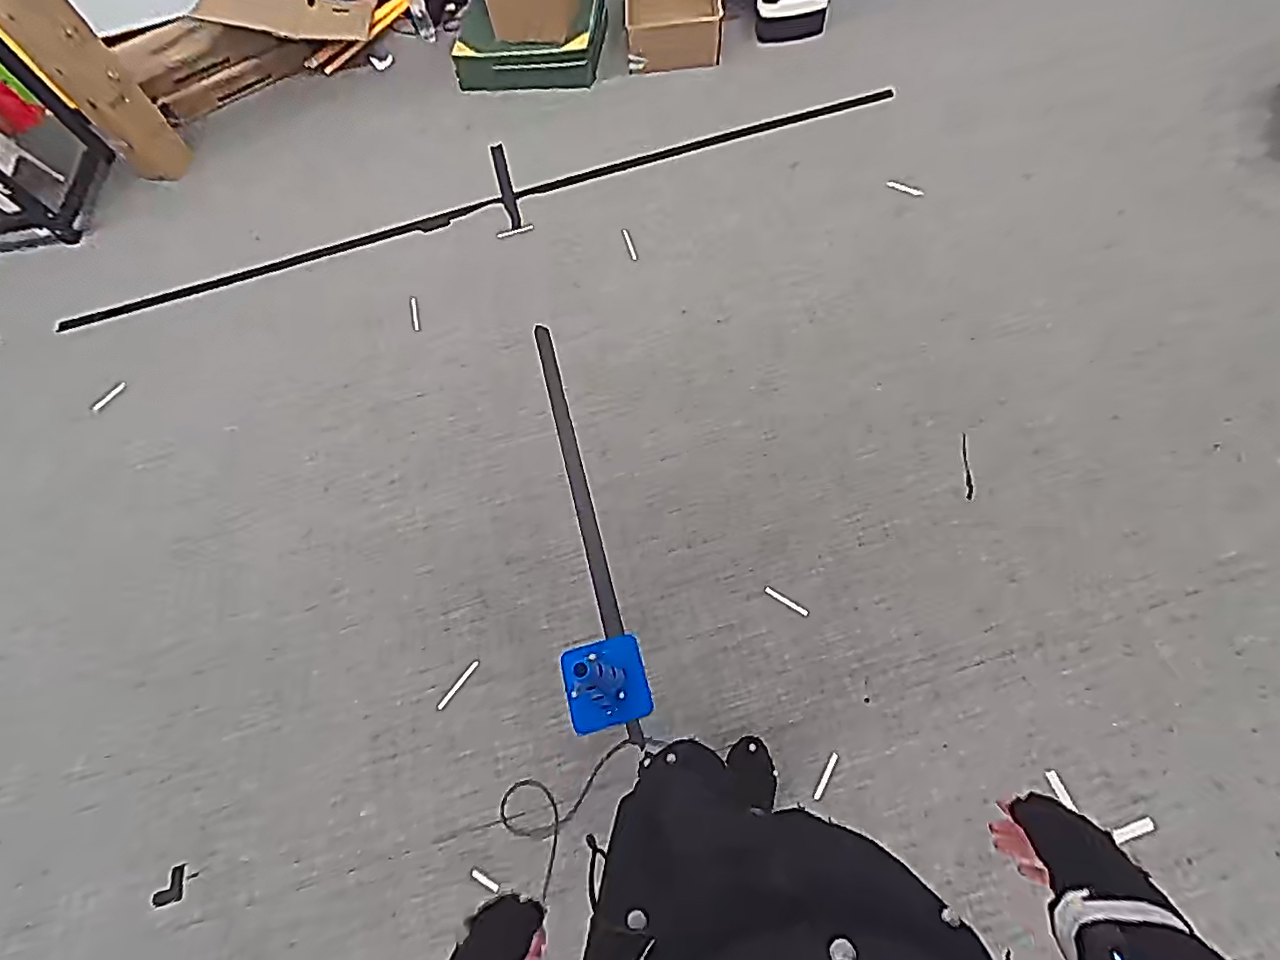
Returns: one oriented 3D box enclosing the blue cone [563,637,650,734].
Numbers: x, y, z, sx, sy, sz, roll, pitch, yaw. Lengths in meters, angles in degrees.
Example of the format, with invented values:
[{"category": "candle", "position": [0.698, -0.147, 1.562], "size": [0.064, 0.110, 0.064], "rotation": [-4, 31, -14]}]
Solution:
[{"category": "blue cone", "position": [-0.097, 0.433, 1.160], "size": [0.193, 0.380, 0.192], "rotation": [-18, 65, -2]}]
